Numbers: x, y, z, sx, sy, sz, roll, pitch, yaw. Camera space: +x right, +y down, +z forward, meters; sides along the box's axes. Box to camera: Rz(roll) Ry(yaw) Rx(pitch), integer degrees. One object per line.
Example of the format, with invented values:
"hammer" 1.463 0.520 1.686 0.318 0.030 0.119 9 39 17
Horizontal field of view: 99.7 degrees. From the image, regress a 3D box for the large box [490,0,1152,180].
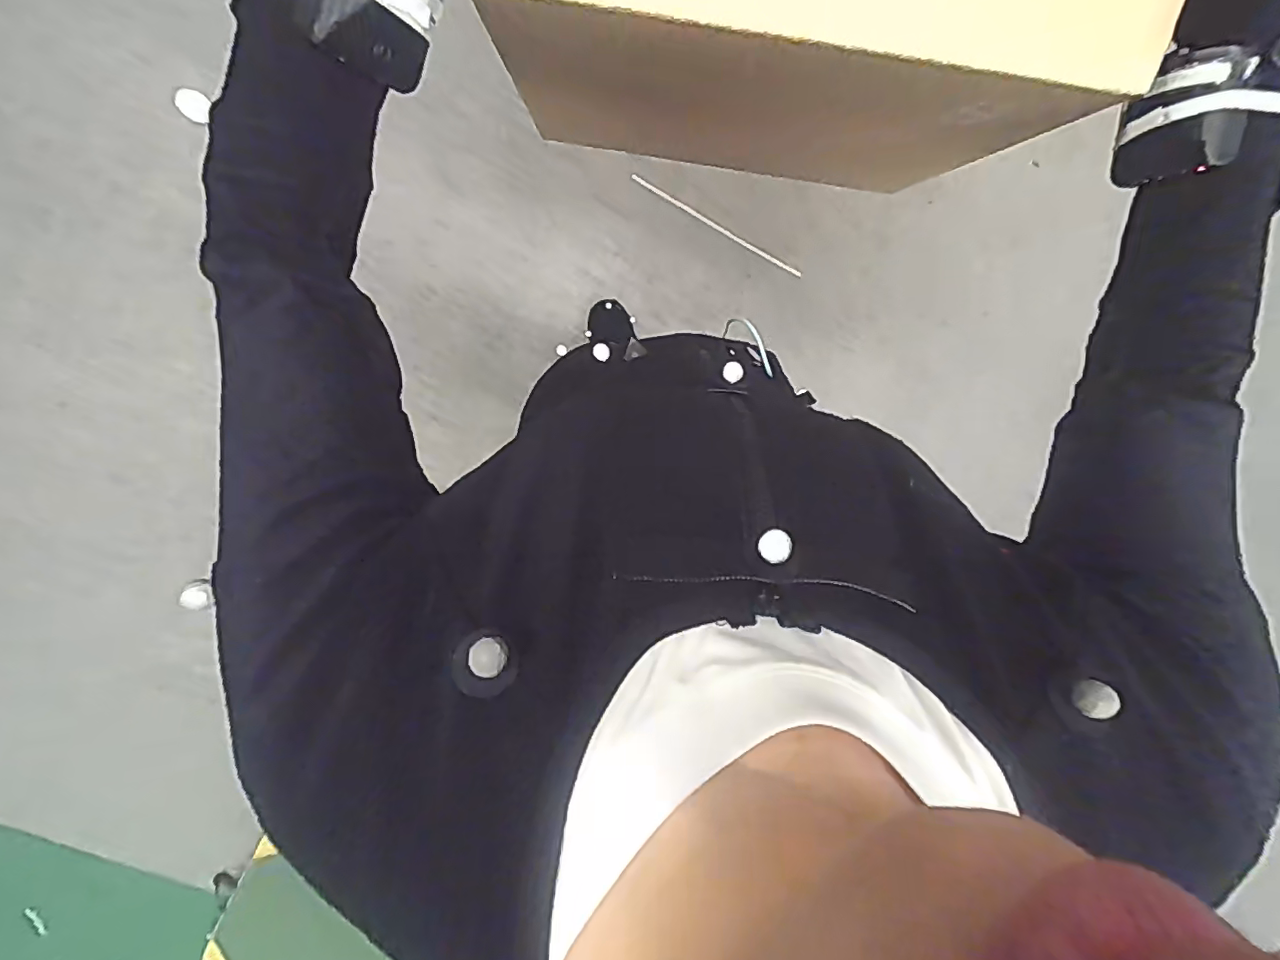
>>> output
"large box" 0.109 -0.453 0.411 0.408 0.320 0.320 5 108 -5
